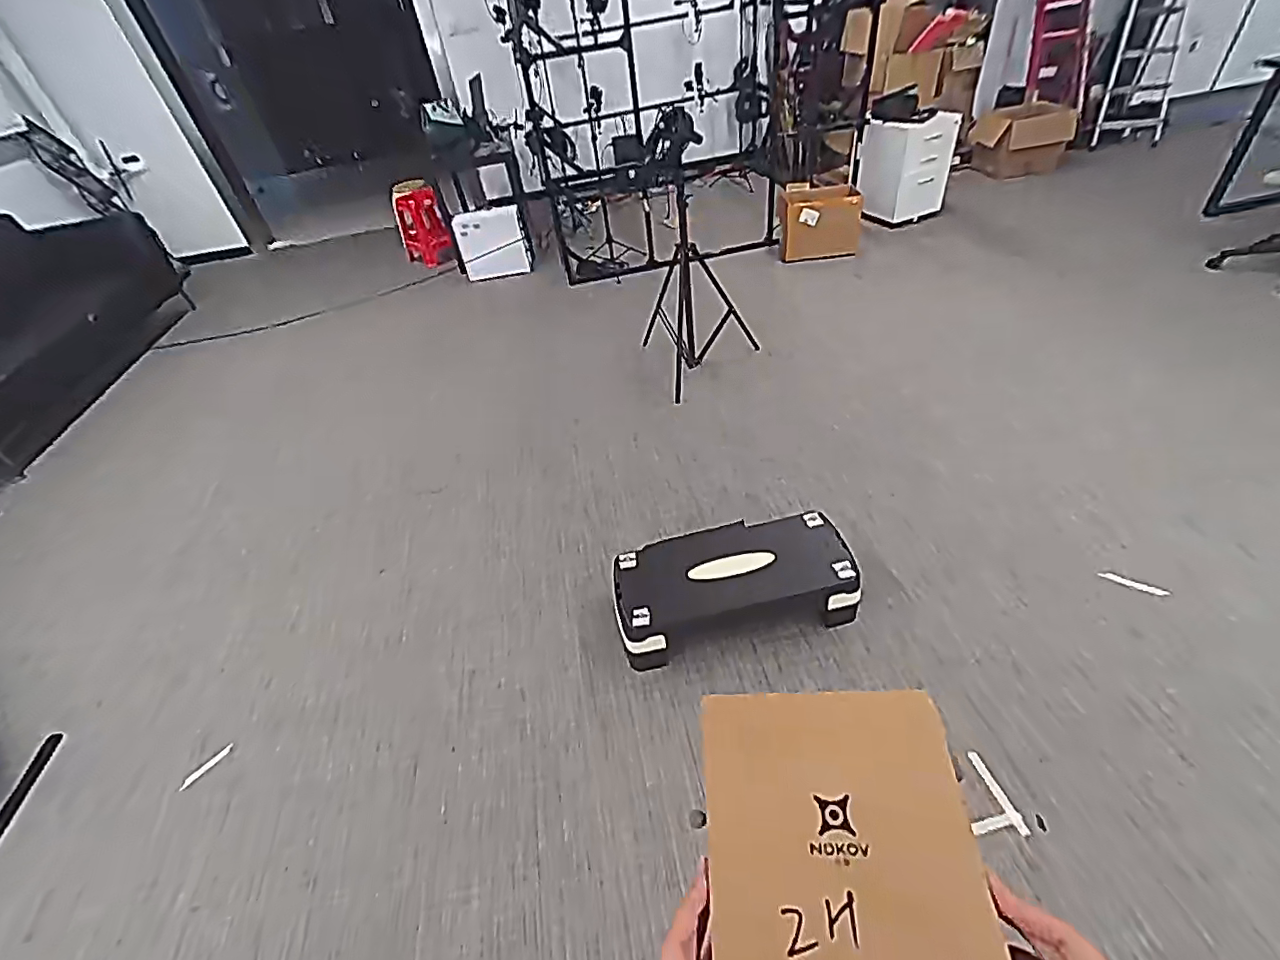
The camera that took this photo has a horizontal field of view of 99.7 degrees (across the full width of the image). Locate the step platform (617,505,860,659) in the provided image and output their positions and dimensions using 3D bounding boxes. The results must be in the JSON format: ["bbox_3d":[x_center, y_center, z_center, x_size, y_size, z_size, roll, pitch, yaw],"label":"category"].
[{"bbox_3d":[0.276,0.288,1.587,0.684,0.204,0.286,-13,41,-3],"label":"step platform"}]

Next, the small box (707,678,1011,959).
[{"bbox_3d":[0.139,0.267,0.409,0.168,0.176,0.179,-5,50,10],"label":"small box"}]
